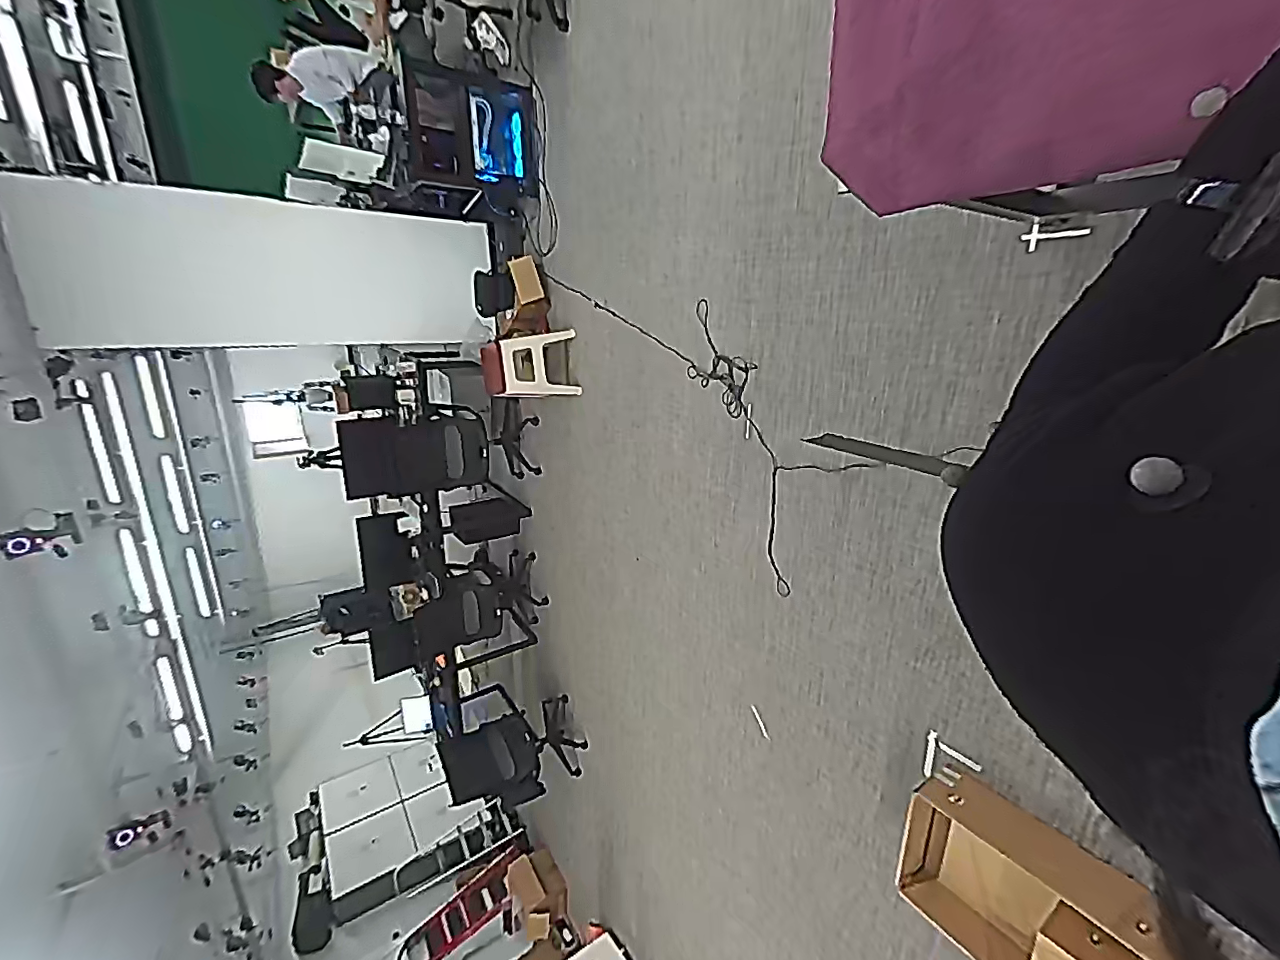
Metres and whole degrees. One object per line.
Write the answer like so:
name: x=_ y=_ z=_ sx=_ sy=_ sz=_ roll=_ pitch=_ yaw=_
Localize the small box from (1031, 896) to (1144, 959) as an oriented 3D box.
small box: x=1.085 y=1.179 z=1.317 sx=0.168 sy=0.176 sz=0.179 roll=21 pitch=117 yaw=54
